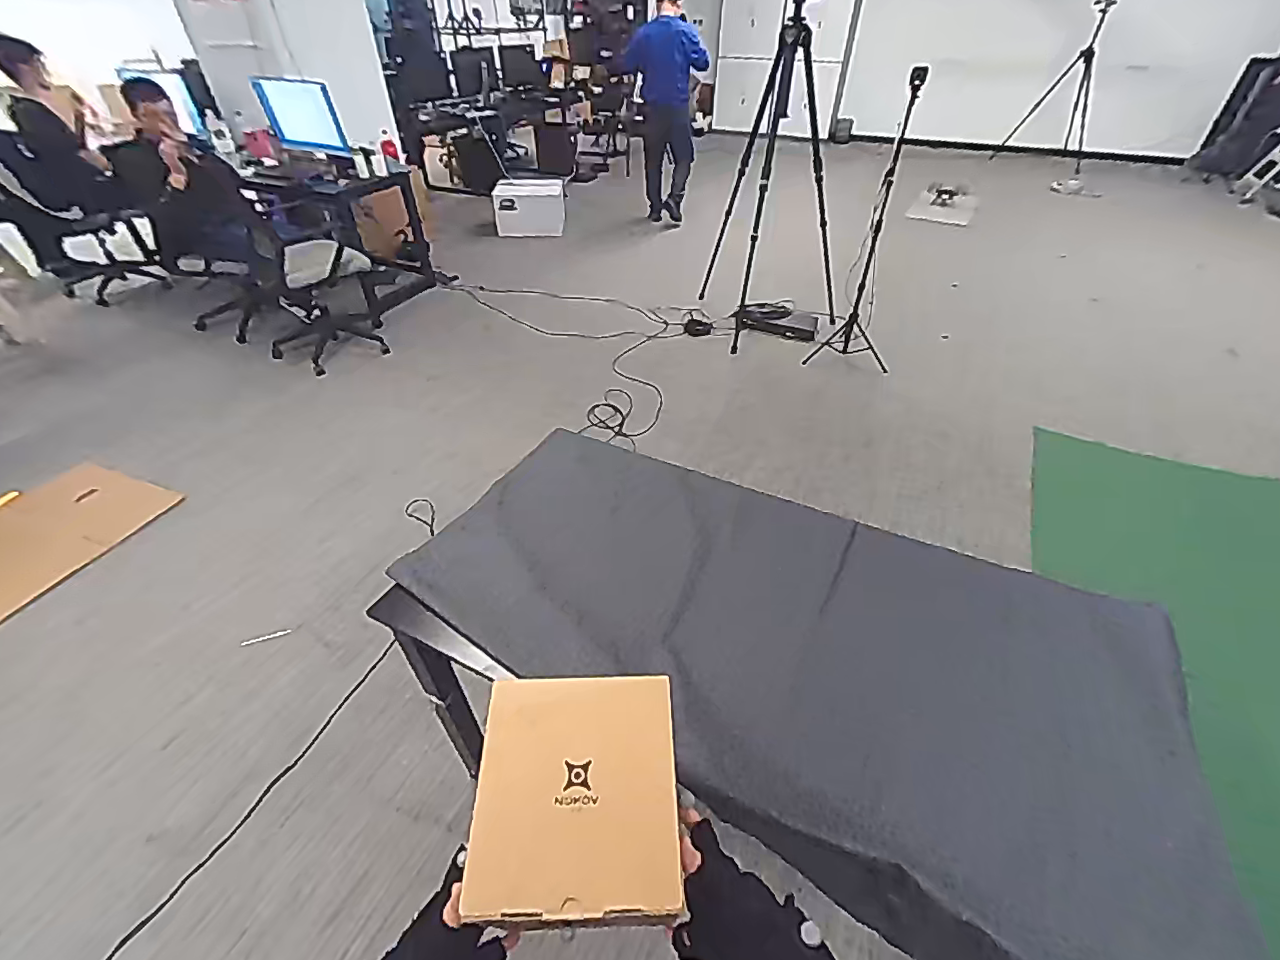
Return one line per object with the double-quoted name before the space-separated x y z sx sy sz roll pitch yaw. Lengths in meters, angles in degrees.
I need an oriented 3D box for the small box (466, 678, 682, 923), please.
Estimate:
"small box" -0.053 0.308 0.518 0.168 0.176 0.179 0 49 -2
